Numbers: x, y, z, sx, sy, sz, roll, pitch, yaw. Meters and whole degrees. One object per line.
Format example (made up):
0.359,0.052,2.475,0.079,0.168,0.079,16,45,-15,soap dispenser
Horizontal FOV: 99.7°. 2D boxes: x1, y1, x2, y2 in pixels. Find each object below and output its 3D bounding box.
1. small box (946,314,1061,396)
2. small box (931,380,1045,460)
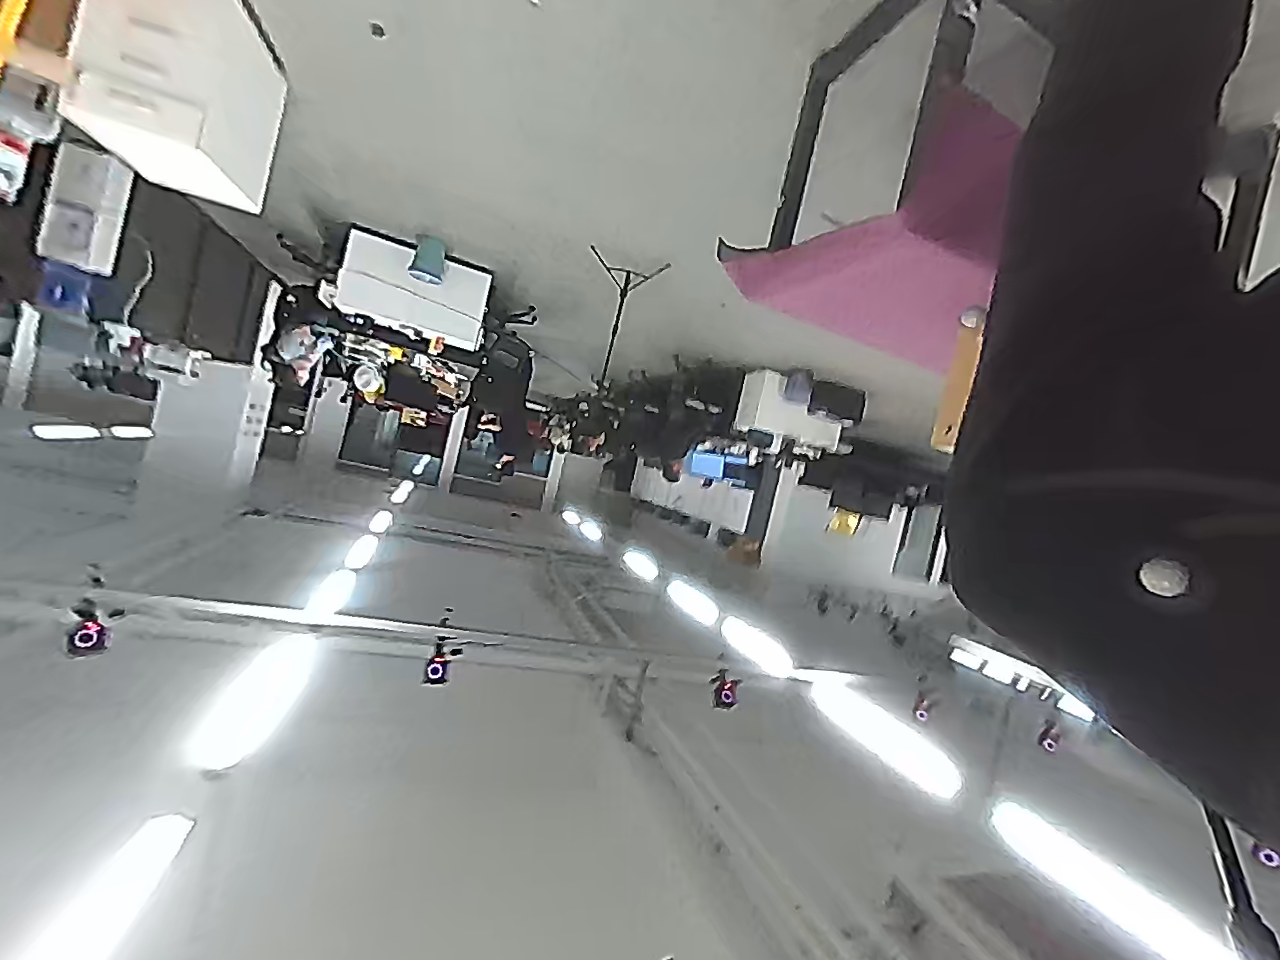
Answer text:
0.947,-0.317,1.408,0.179,0.176,0.168,13,180,-16,small box
0.909,-0.157,1.414,0.168,0.176,0.179,12,-179,-22,small box
